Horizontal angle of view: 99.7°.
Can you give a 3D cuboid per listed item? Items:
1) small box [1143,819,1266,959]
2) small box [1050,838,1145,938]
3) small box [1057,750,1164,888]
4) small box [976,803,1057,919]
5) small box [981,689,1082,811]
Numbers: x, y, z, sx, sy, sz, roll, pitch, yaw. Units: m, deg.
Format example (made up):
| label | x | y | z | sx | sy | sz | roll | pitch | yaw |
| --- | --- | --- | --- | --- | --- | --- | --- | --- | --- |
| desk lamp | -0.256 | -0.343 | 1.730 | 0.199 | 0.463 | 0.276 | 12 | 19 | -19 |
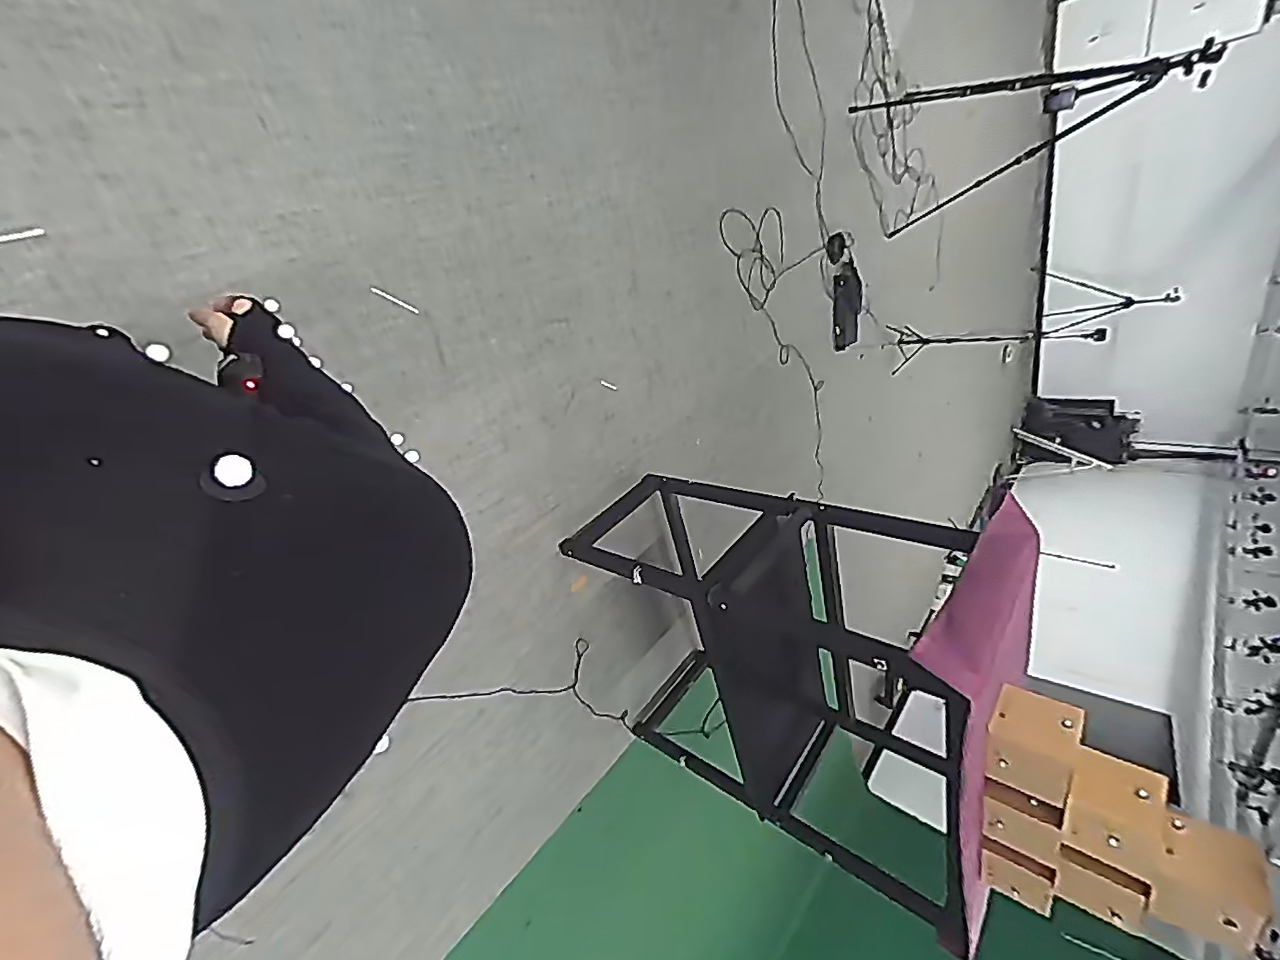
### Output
| label | x | y | z | sx | sy | sz | roll | pitch | yaw |
| --- | --- | --- | --- | --- | --- | --- | --- | --- | --- |
| small box | 1.248 | 0.902 | 1.206 | 0.168 | 0.176 | 0.179 | -38 | 123 | -36 |
| small box | 1.160 | 0.988 | 1.372 | 0.168 | 0.176 | 0.179 | -37 | 122 | -37 |
| small box | 1.099 | 0.784 | 1.269 | 0.179 | 0.176 | 0.168 | -36 | 122 | -37 |
| small box | 1.079 | 1.082 | 1.548 | 0.179 | 0.176 | 0.168 | -34 | 122 | -39 |
| small box | 0.951 | 0.650 | 1.323 | 0.168 | 0.176 | 0.179 | -37 | 124 | -36 |
